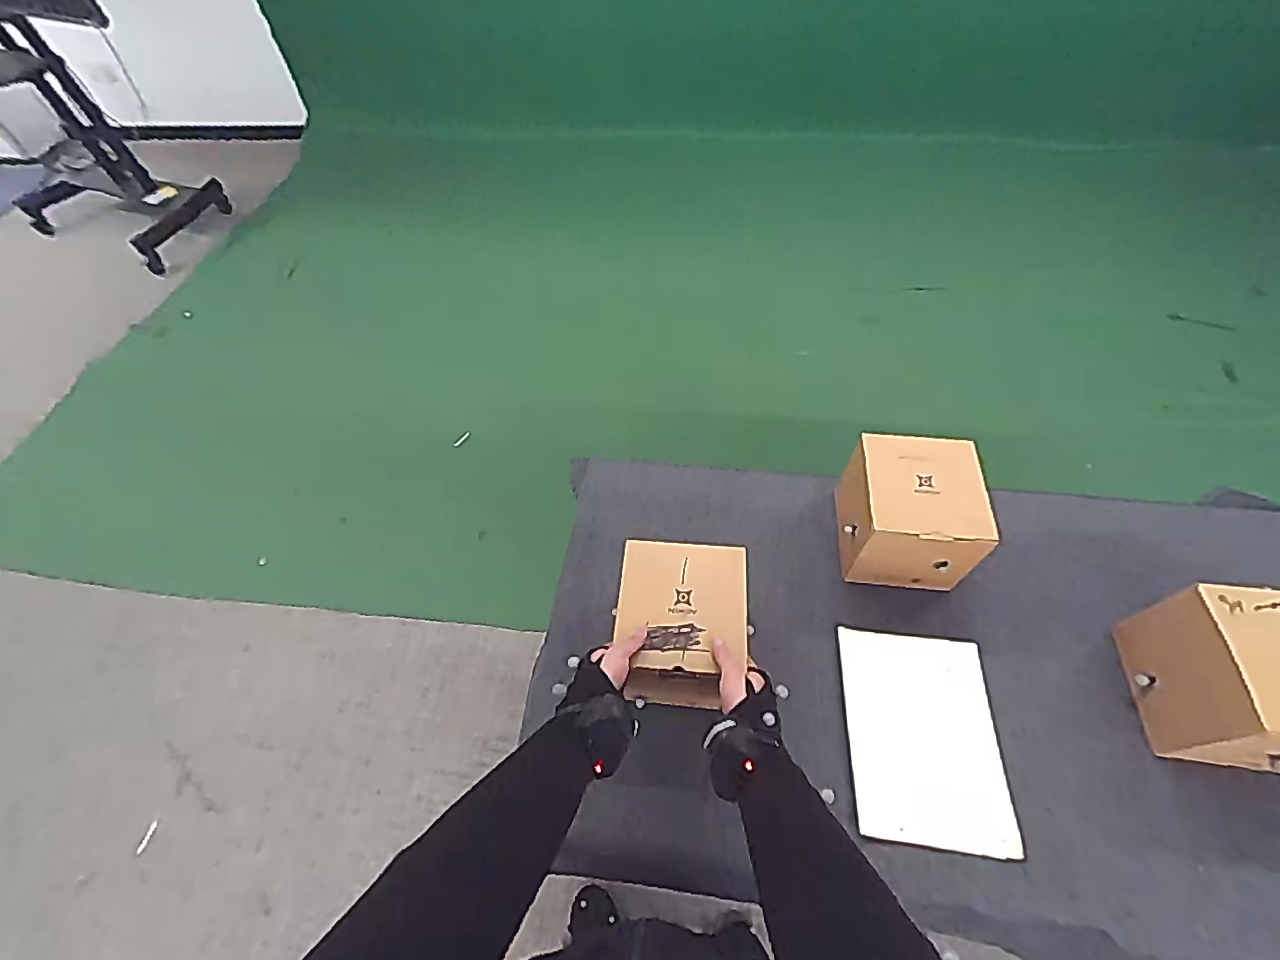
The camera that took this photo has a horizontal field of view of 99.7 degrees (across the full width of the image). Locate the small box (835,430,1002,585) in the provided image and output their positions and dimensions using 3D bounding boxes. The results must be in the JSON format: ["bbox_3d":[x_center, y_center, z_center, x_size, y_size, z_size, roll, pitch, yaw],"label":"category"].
[{"bbox_3d":[0.409,0.046,0.830,0.168,0.176,0.179,4,55,5],"label":"small box"}]

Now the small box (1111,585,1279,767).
[{"bbox_3d":[0.761,0.252,0.684,0.168,0.176,0.179,5,57,6],"label":"small box"}]

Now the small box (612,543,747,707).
[{"bbox_3d":[0.059,0.208,0.757,0.168,0.176,0.179,3,56,5],"label":"small box"}]
